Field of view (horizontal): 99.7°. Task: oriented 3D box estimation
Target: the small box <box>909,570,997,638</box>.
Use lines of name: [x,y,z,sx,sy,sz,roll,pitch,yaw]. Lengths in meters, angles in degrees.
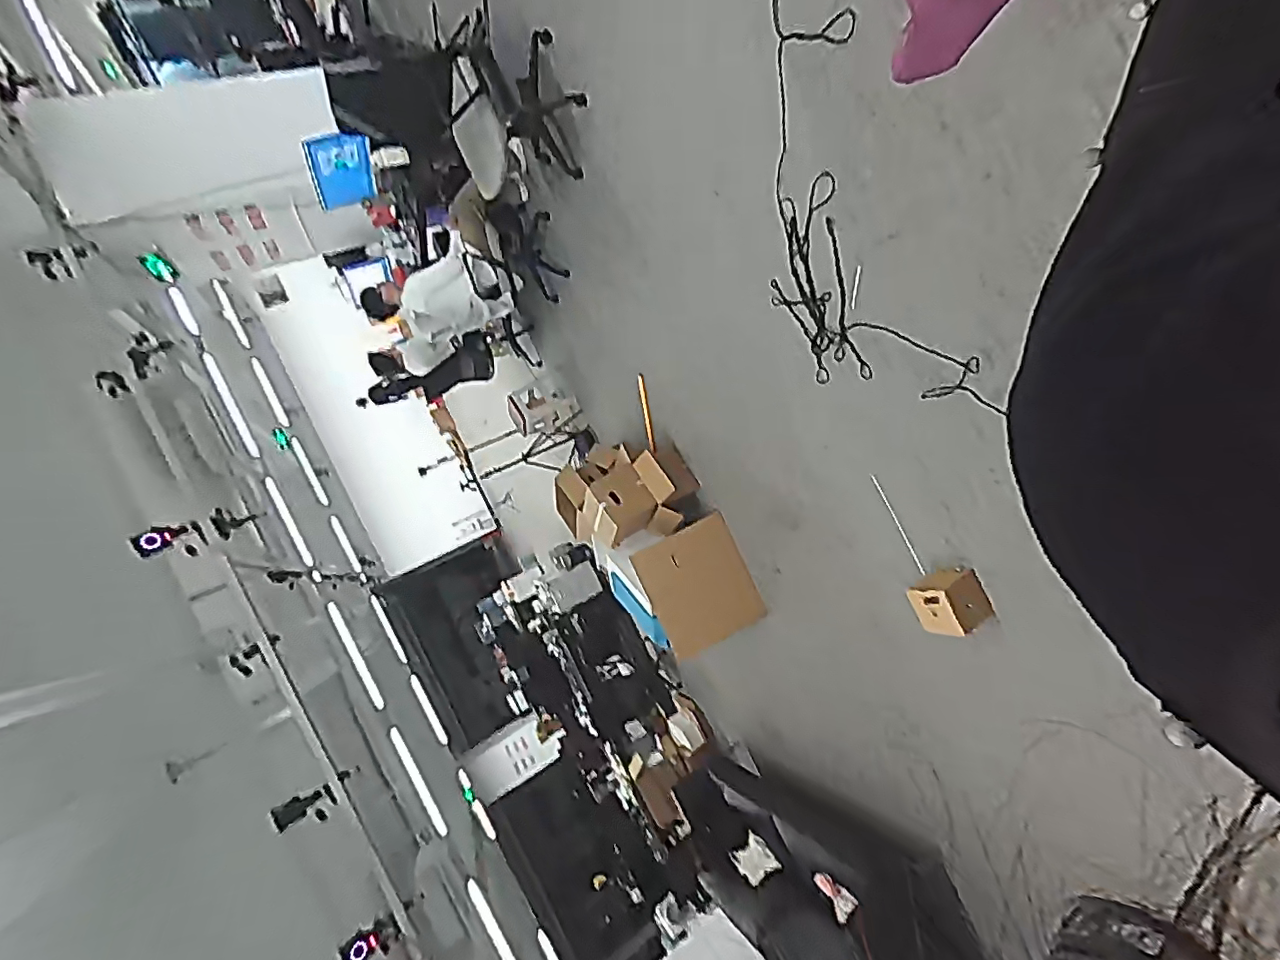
small box: [1.098,0.428,1.896,0.179,0.176,0.168,62,159,0]
